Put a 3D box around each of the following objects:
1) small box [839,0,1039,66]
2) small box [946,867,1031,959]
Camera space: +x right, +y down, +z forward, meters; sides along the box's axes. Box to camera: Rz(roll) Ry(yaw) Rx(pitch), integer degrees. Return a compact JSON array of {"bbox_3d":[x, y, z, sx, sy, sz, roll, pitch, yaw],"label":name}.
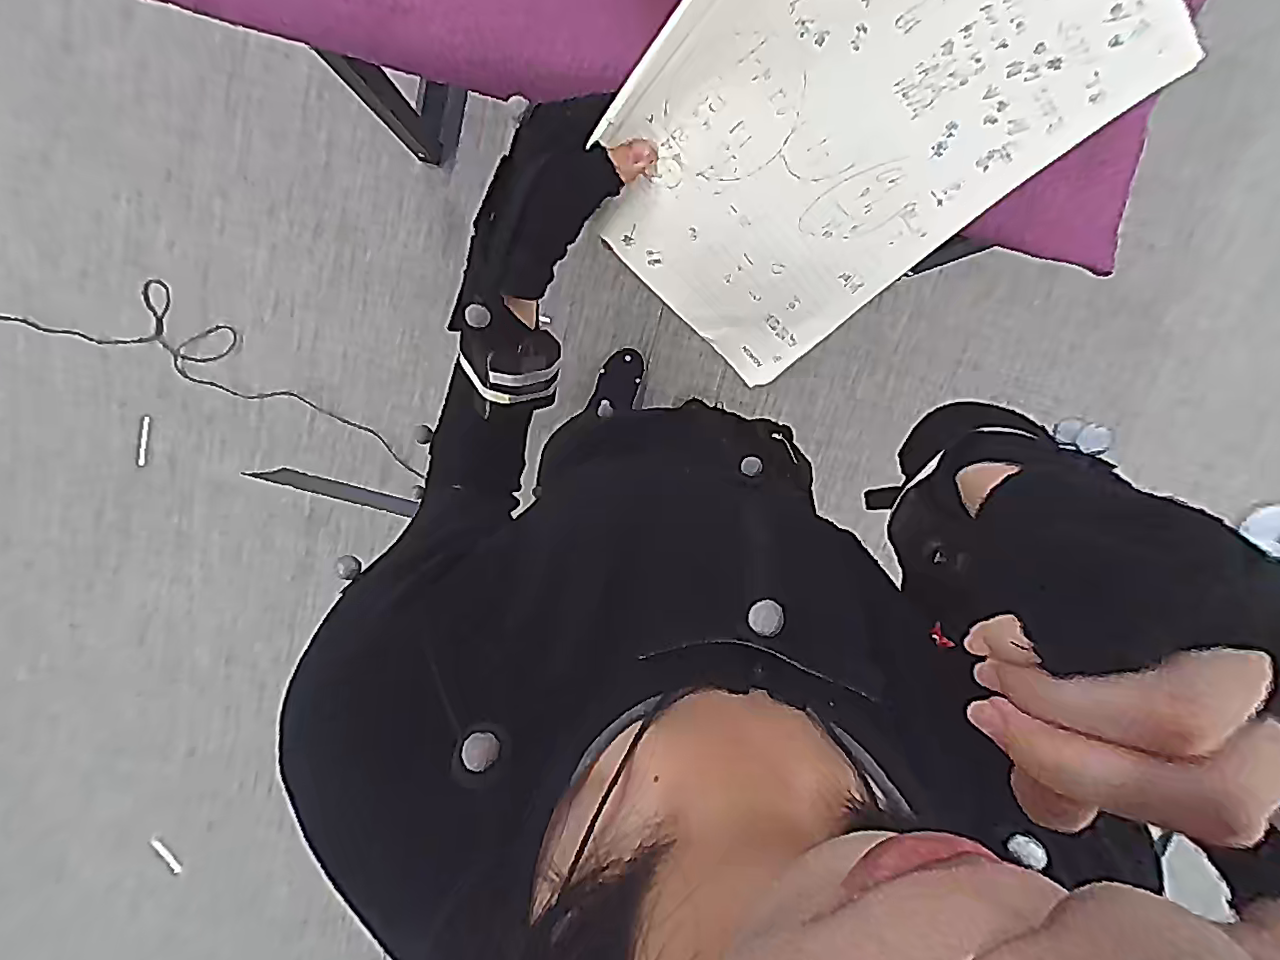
[{"bbox_3d":[0.349,-0.596,0.582,0.179,0.176,0.168,17,97,-3],"label":"small box"},{"bbox_3d":[1.092,1.373,1.705,0.168,0.176,0.179,-8,100,0],"label":"small box"}]
